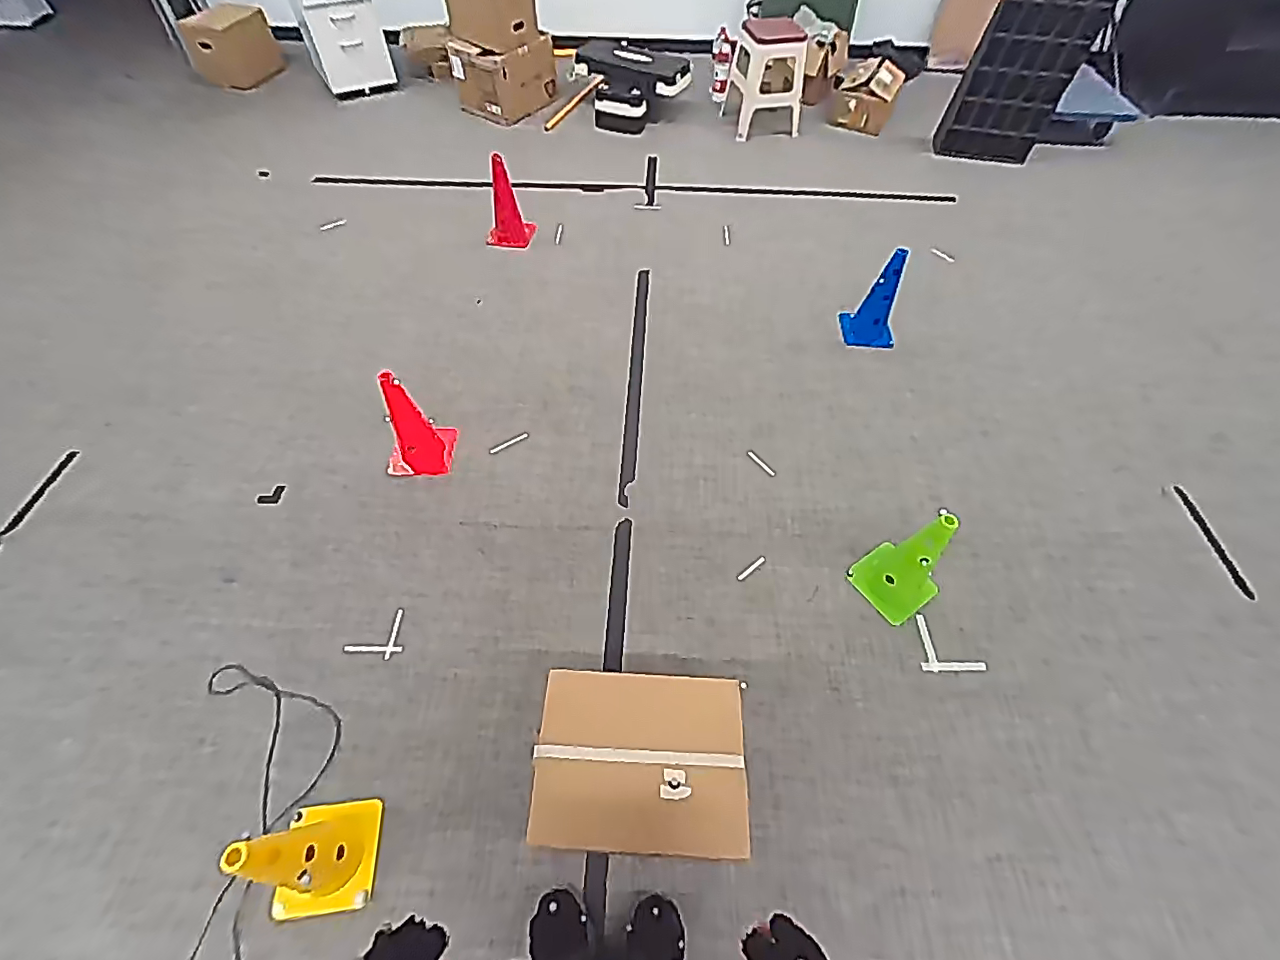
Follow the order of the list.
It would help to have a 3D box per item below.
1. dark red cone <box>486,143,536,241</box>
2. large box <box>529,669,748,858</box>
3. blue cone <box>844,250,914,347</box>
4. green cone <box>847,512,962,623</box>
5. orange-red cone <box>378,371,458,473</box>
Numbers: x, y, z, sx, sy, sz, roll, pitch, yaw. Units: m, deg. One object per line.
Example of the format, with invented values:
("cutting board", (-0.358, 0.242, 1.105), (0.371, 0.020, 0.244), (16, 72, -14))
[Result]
("dark red cone", (-0.596, -1.275, 2.395), (0.201, 0.394, 0.202), (8, 56, 3))
("large box", (-0.003, 0.622, 1.173), (0.408, 0.320, 0.320), (4, 55, 0))
("blue cone", (0.944, -0.707, 2.084), (0.192, 0.380, 0.193), (6, 56, 1))
("green cone", (0.743, 0.198, 1.435), (0.202, 0.368, 0.200), (-29, 62, -21))
("orange-red cone", (-0.723, -0.197, 1.679), (0.198, 0.360, 0.199), (0, 57, 0))
